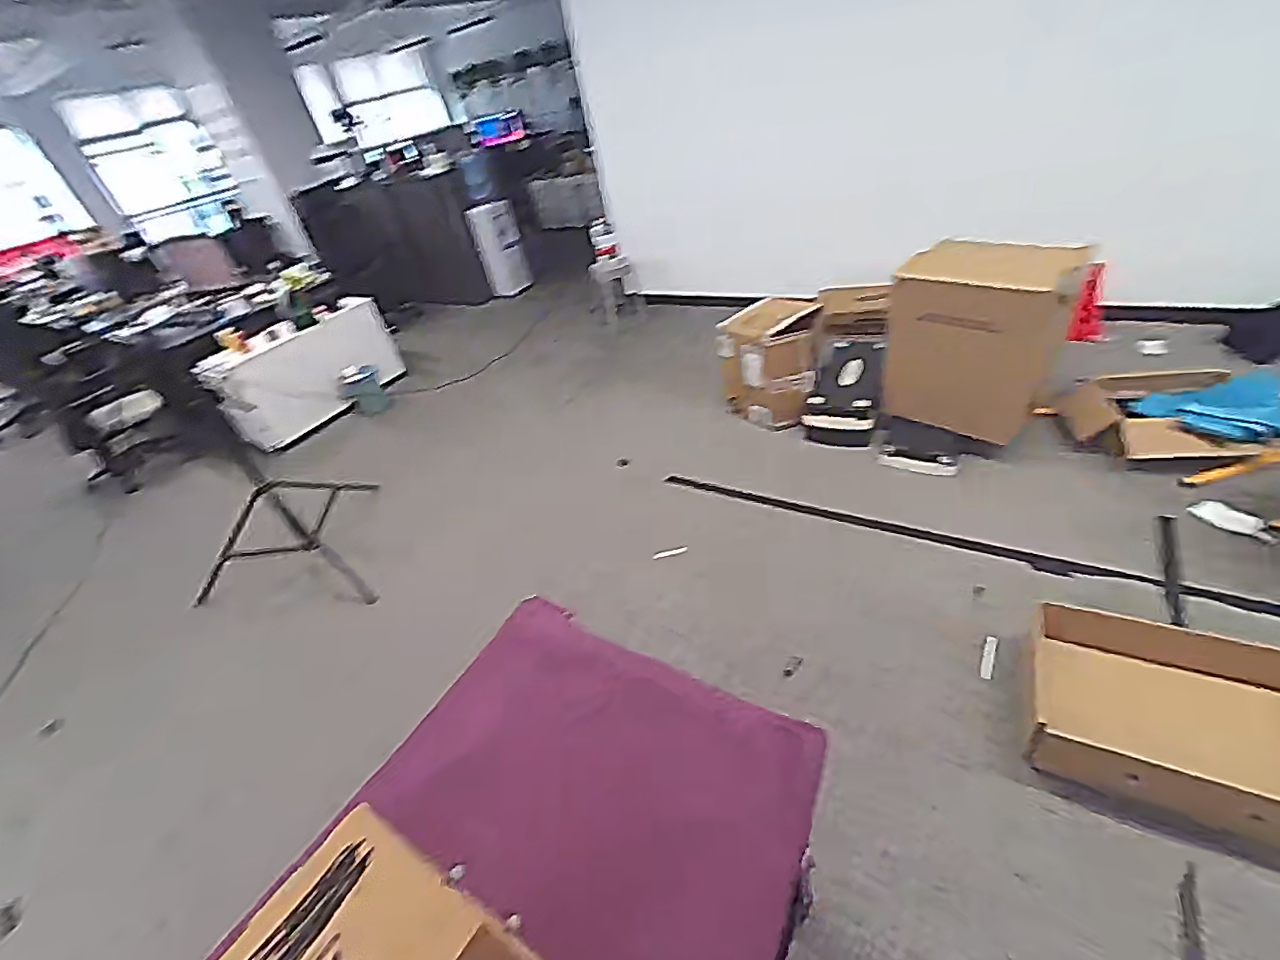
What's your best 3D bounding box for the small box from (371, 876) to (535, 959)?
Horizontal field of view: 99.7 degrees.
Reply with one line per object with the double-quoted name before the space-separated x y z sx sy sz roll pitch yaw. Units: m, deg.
"small box" -0.183 0.560 0.546 0.179 0.176 0.168 13 44 32
